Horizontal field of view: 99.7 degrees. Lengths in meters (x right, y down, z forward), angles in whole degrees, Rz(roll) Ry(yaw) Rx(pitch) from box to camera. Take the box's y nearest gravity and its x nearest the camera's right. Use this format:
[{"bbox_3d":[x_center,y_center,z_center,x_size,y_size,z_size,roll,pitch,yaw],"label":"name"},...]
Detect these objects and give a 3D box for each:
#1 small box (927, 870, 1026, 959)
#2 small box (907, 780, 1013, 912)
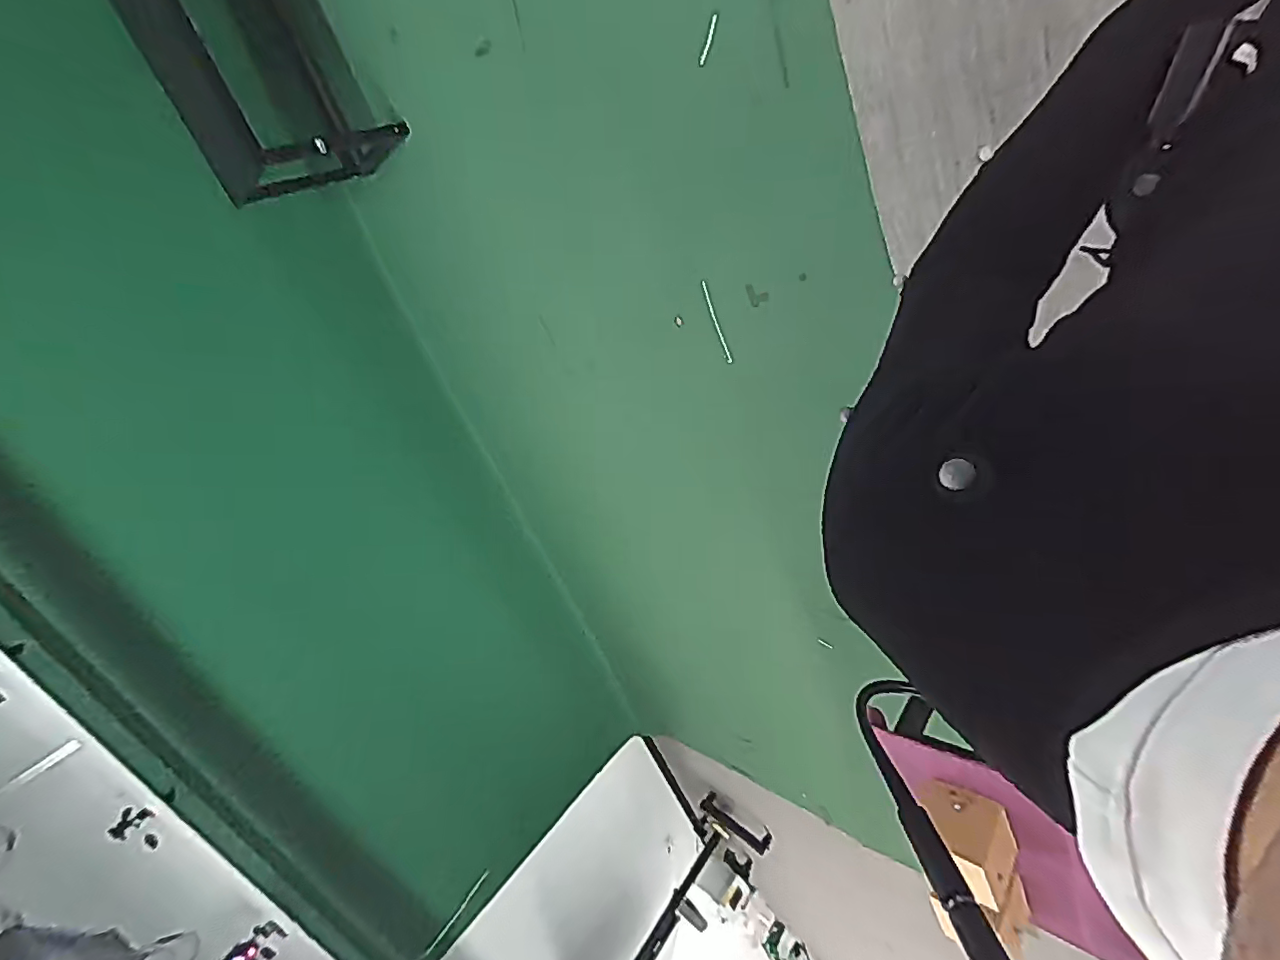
[{"bbox_3d":[0.893,1.120,1.426,0.168,0.176,0.179,-4,118,50],"label":"small box"},{"bbox_3d":[0.789,0.887,1.325,0.168,0.176,0.179,-3,120,49],"label":"small box"}]
